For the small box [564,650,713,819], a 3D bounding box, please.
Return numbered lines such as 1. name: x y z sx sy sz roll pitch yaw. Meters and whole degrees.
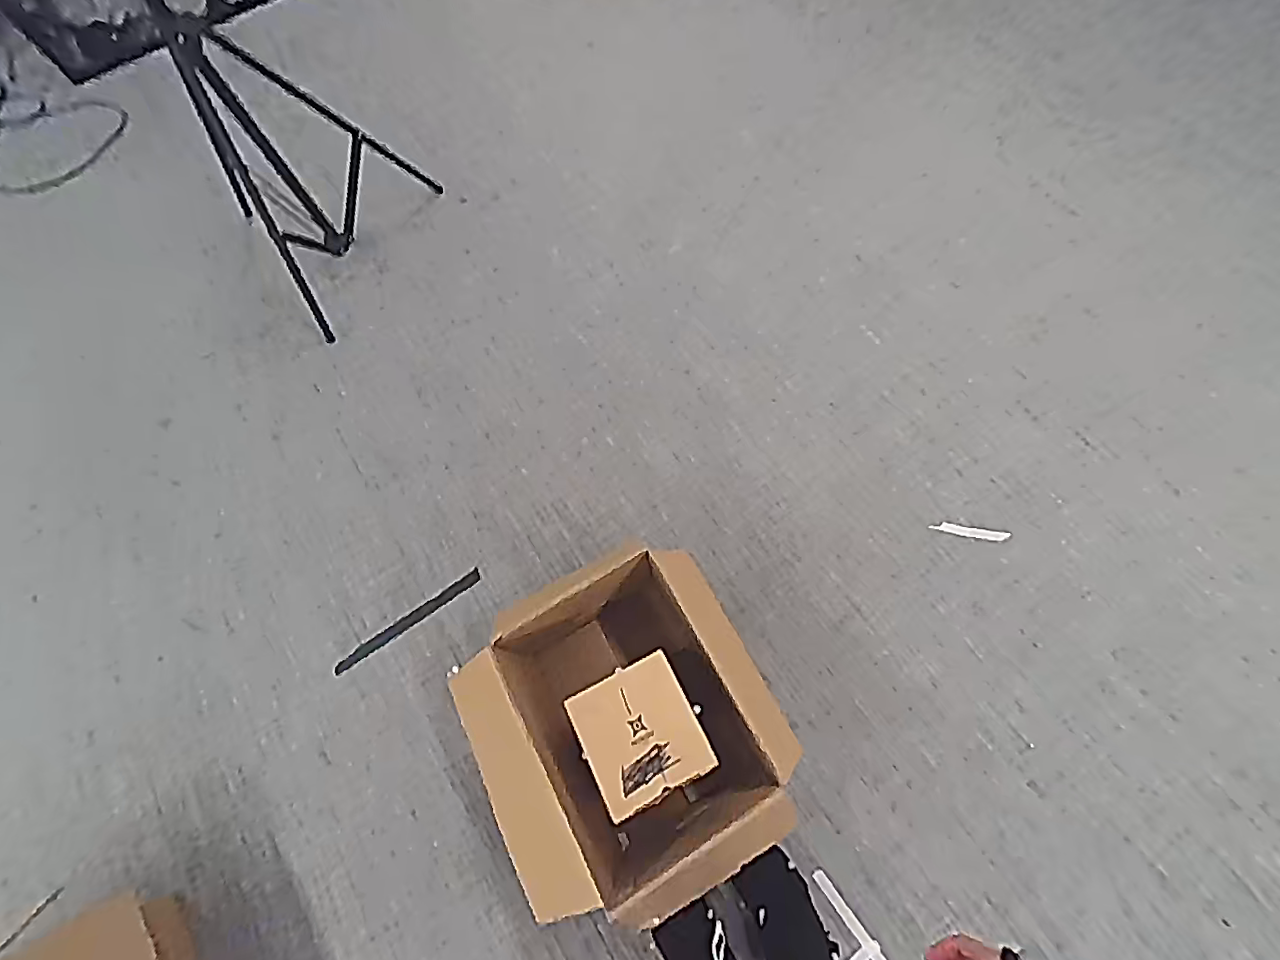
1. small box: -0.001 0.391 0.853 0.168 0.176 0.179 -26 67 -9
